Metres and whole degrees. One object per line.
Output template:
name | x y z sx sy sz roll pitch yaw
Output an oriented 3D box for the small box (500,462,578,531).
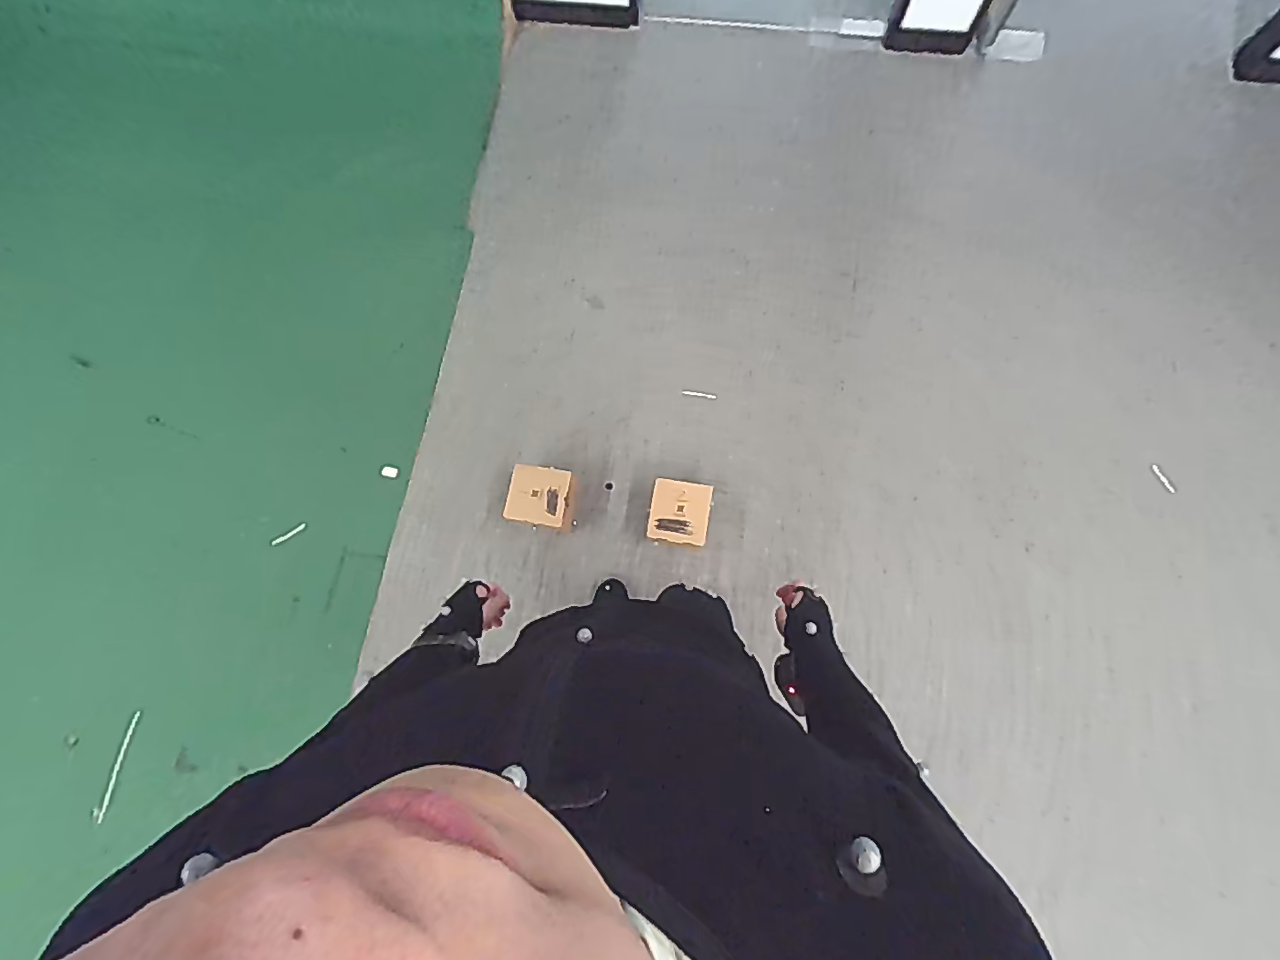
small box | -0.291 0.055 1.611 0.179 0.176 0.168 9 79 6
